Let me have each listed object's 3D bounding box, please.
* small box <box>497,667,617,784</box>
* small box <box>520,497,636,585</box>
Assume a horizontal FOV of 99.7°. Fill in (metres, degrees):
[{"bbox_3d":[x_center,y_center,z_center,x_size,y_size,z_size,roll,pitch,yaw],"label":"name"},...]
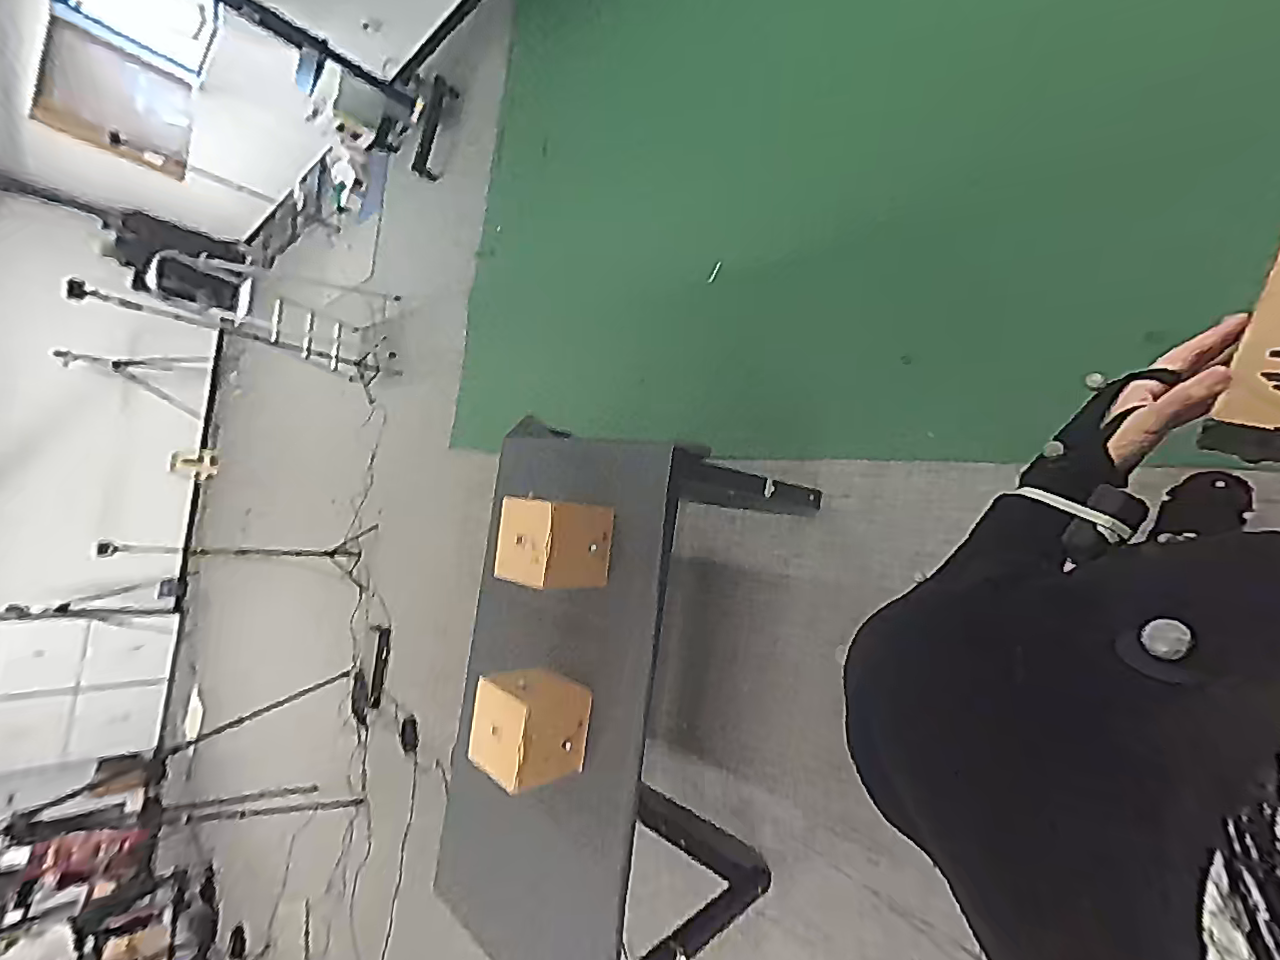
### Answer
[{"bbox_3d":[-0.175,0.505,1.142,0.179,0.176,0.168,4,86,45],"label":"small box"},{"bbox_3d":[-0.132,0.130,1.159,0.179,0.176,0.168,2,86,45],"label":"small box"}]
